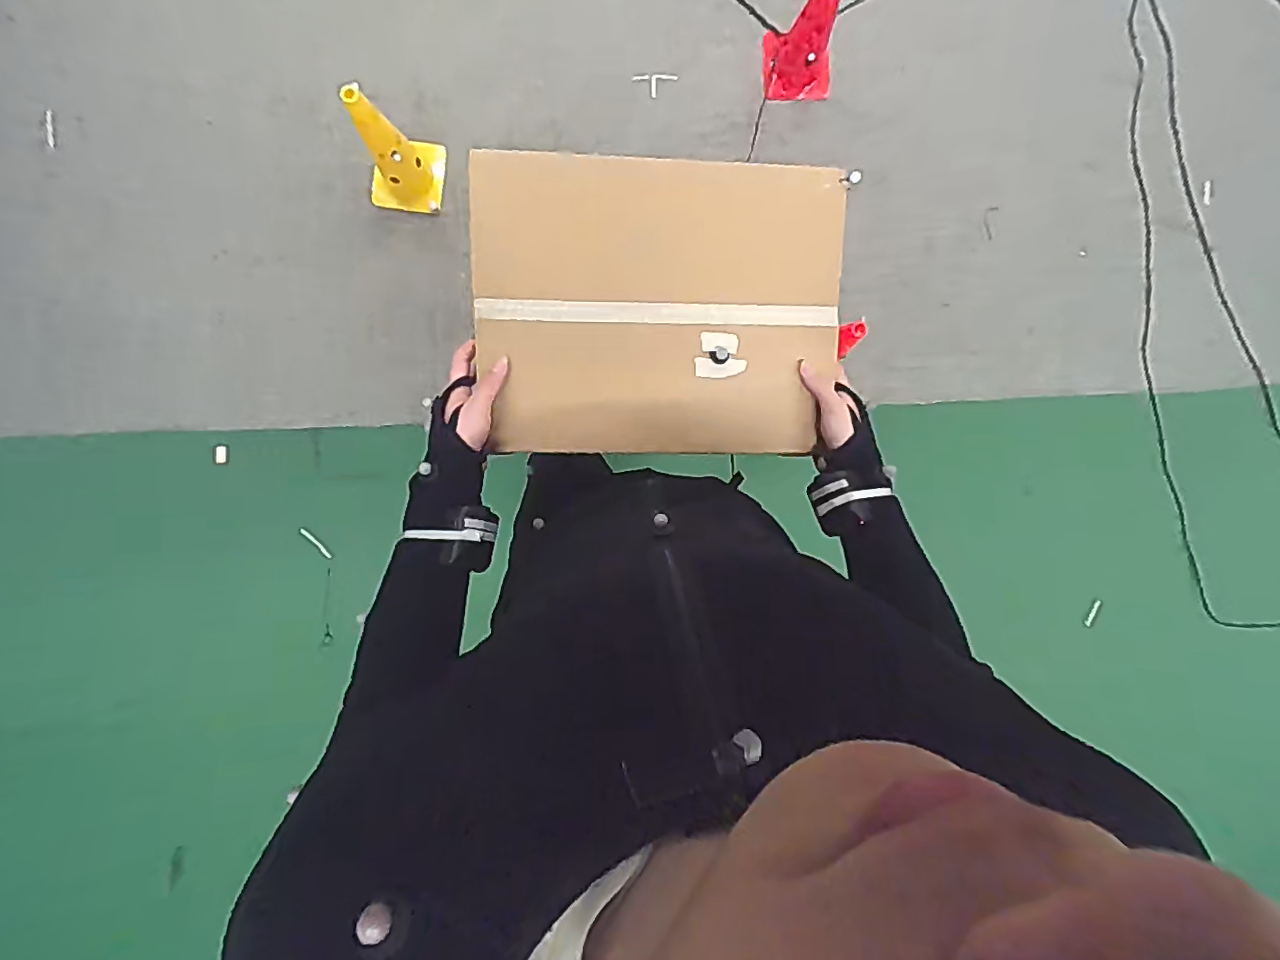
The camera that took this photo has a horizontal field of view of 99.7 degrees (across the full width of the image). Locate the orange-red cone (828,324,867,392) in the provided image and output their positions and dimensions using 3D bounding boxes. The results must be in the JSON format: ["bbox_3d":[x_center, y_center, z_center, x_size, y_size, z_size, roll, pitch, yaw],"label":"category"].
[{"bbox_3d":[0.519,-0.365,1.465,0.199,0.360,0.198,5,92,-4],"label":"orange-red cone"}]

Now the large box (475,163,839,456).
[{"bbox_3d":[0.010,-0.209,0.752,0.408,0.320,0.320,-1,101,-5],"label":"large box"}]
